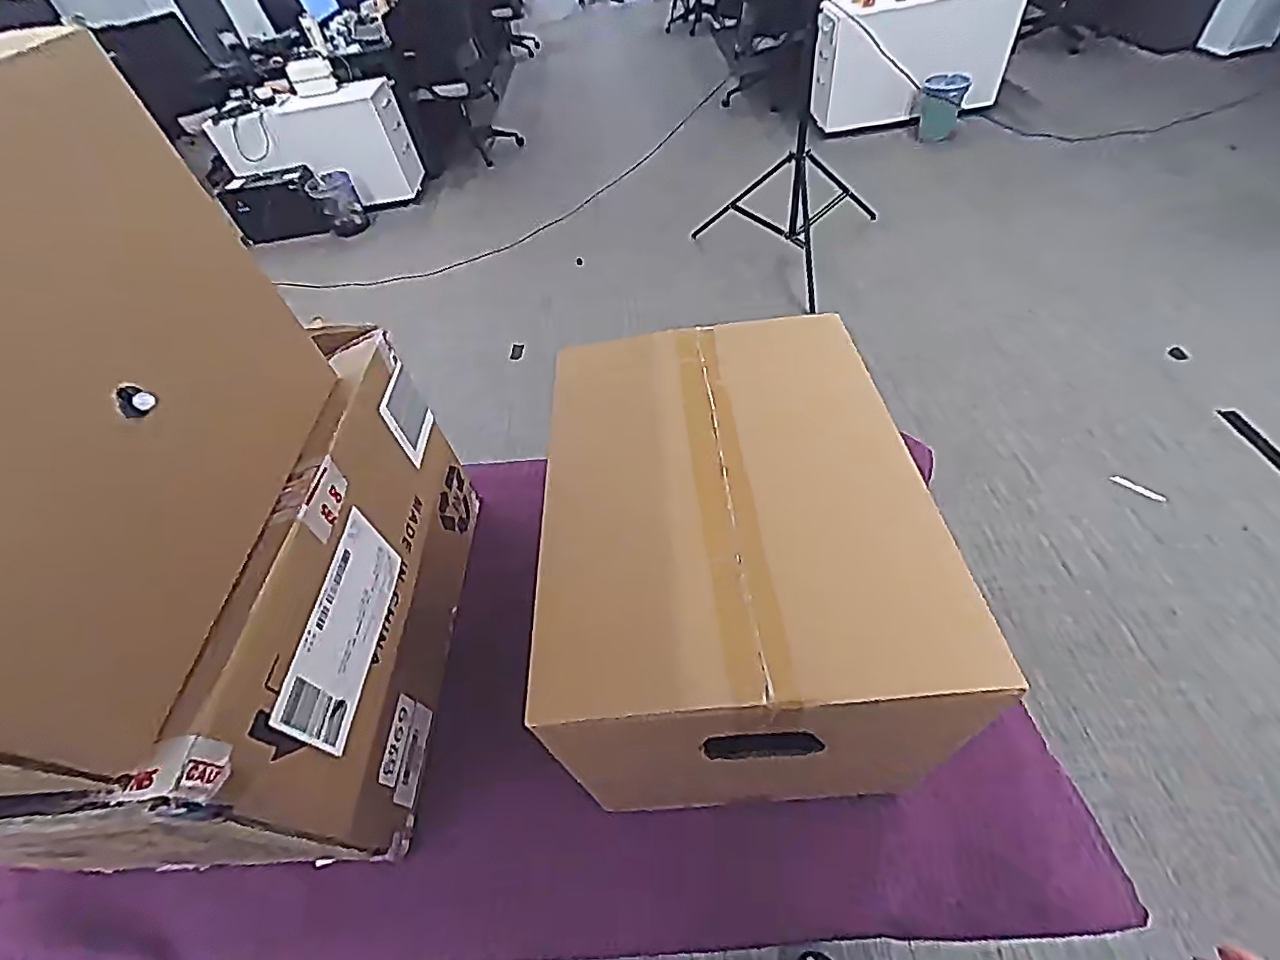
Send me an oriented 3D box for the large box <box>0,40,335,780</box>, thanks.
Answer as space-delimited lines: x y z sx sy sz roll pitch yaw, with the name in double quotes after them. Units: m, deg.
-0.489 -0.041 0.373 0.320 0.320 0.408 -8 50 5 "large box"
